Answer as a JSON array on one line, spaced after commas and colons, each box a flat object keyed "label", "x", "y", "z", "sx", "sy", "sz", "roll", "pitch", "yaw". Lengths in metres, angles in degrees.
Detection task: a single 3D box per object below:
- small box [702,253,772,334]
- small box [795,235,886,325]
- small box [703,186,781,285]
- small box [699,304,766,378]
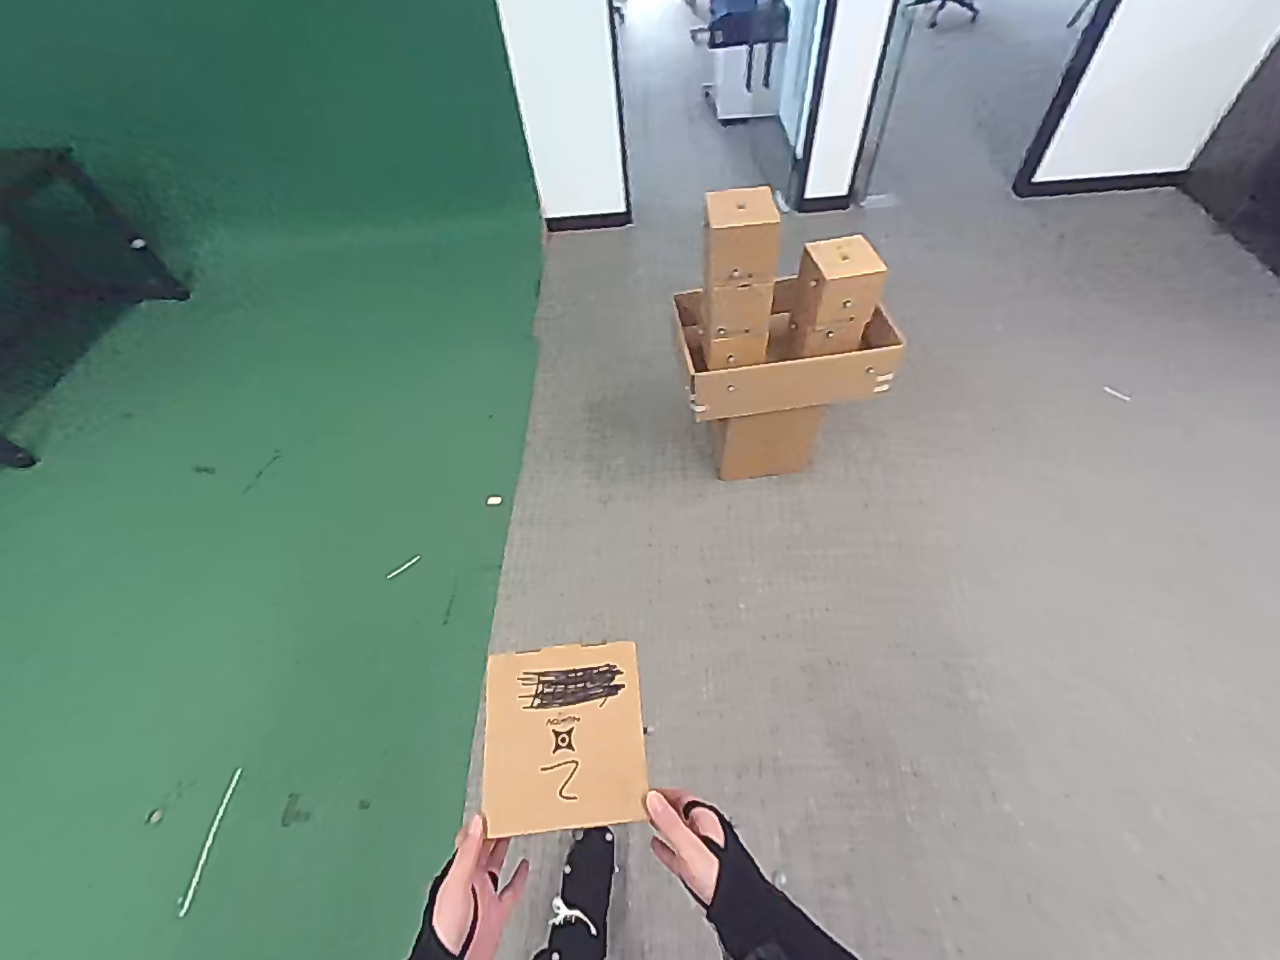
[{"label": "small box", "x": 0.265, "y": -0.522, "z": 1.508, "sx": 0.168, "sy": 0.176, "sz": 0.179, "roll": -4, "pitch": 52, "yaw": 1}, {"label": "small box", "x": 0.548, "y": -0.548, "z": 1.503, "sx": 0.168, "sy": 0.176, "sz": 0.179, "roll": -9, "pitch": 54, "yaw": -3}, {"label": "small box", "x": 0.252, "y": -0.622, "z": 1.380, "sx": 0.168, "sy": 0.176, "sz": 0.179, "roll": -4, "pitch": 54, "yaw": 2}, {"label": "small box", "x": 0.274, "y": -0.424, "z": 1.640, "sx": 0.168, "sy": 0.176, "sz": 0.179, "roll": -8, "pitch": 53, "yaw": -1}]
